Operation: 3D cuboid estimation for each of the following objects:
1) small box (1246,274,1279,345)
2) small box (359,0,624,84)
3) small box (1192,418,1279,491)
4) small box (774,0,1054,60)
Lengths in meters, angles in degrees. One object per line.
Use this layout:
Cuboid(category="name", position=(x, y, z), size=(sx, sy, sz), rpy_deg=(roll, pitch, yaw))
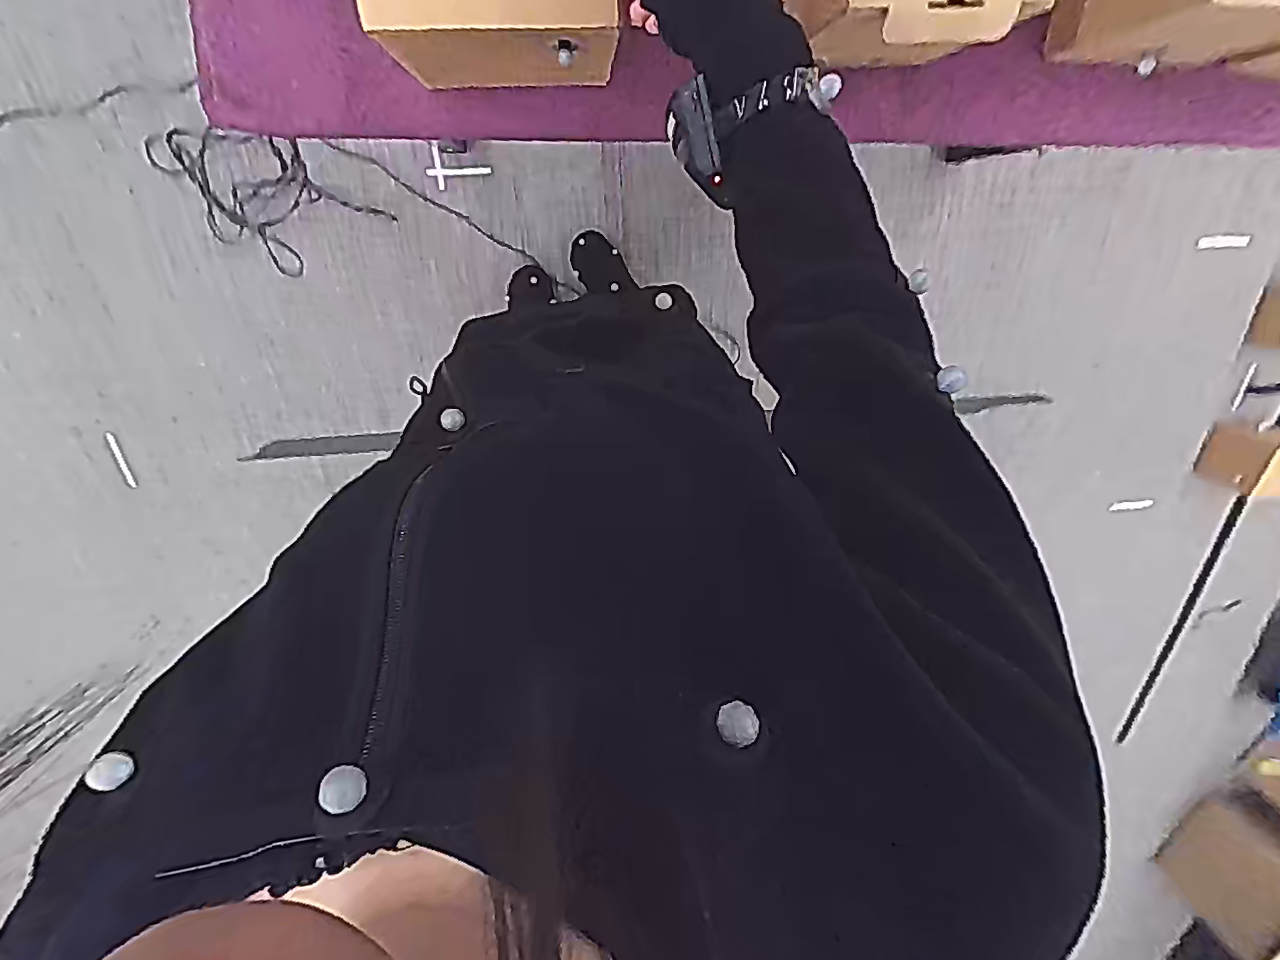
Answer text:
Cuboid(category="small box", position=(1.831, -0.466, 1.471), size=(0.168, 0.176, 0.179), rpy_deg=(-11, 116, -4))
Cuboid(category="small box", position=(-0.109, -0.412, 0.401), size=(0.179, 0.176, 0.168), rpy_deg=(-6, 116, -6))
Cuboid(category="small box", position=(1.875, -0.081, 1.663), size=(0.168, 0.176, 0.179), rpy_deg=(-2, 117, -8))
Cuboid(category="small box", position=(0.213, -0.455, 0.425), size=(0.168, 0.176, 0.179), rpy_deg=(-7, 116, -5))
